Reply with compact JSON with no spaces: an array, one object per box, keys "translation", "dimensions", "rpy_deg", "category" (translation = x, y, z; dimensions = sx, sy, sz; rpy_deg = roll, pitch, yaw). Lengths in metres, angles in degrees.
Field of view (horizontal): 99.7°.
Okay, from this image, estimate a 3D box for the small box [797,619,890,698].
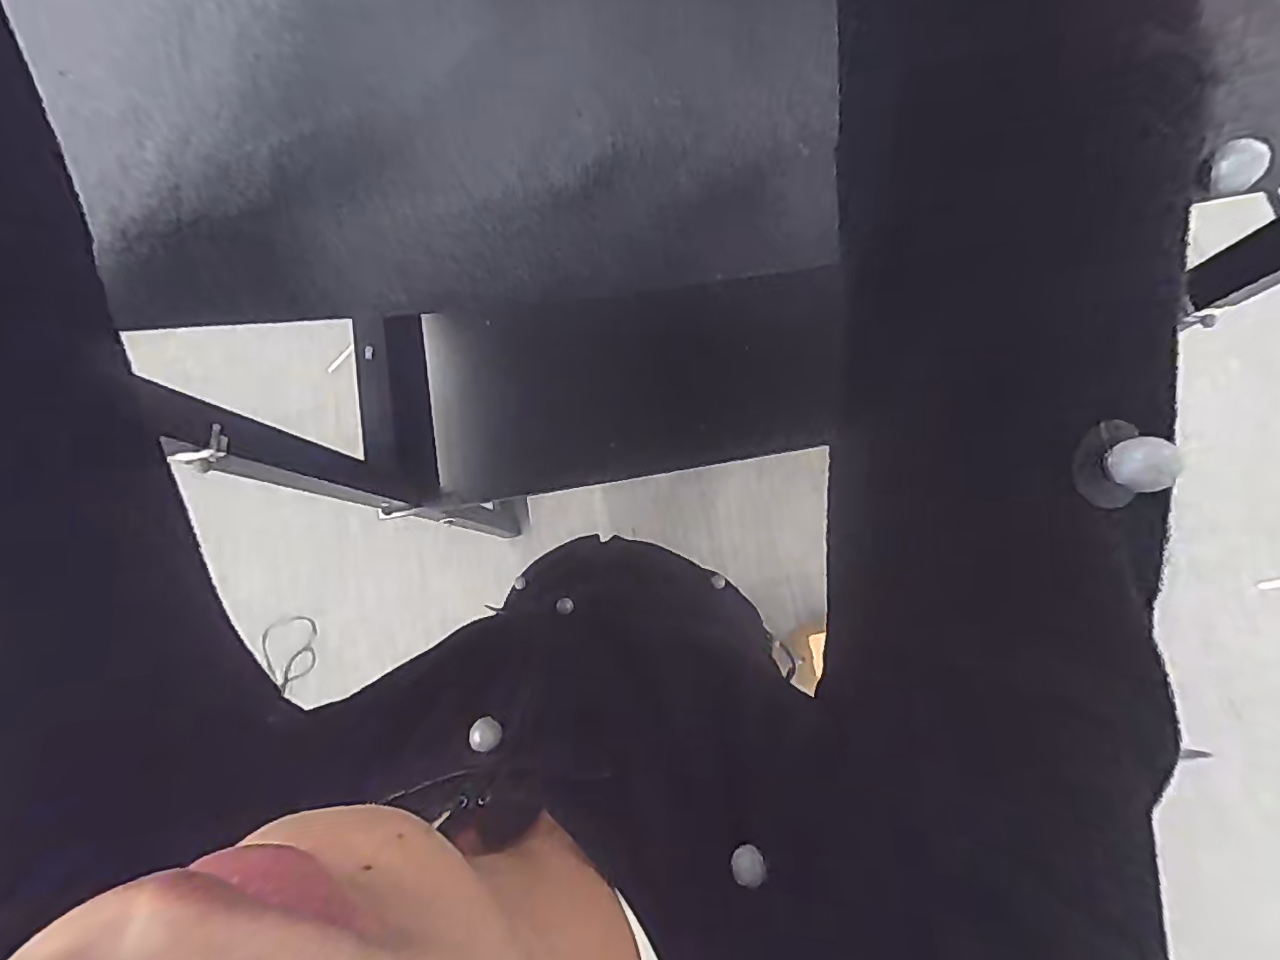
[{"translation":[0.555,0.486,1.496],"dimensions":[0.179,0.176,0.168],"rpy_deg":[-12,79,1],"category":"small box"}]
